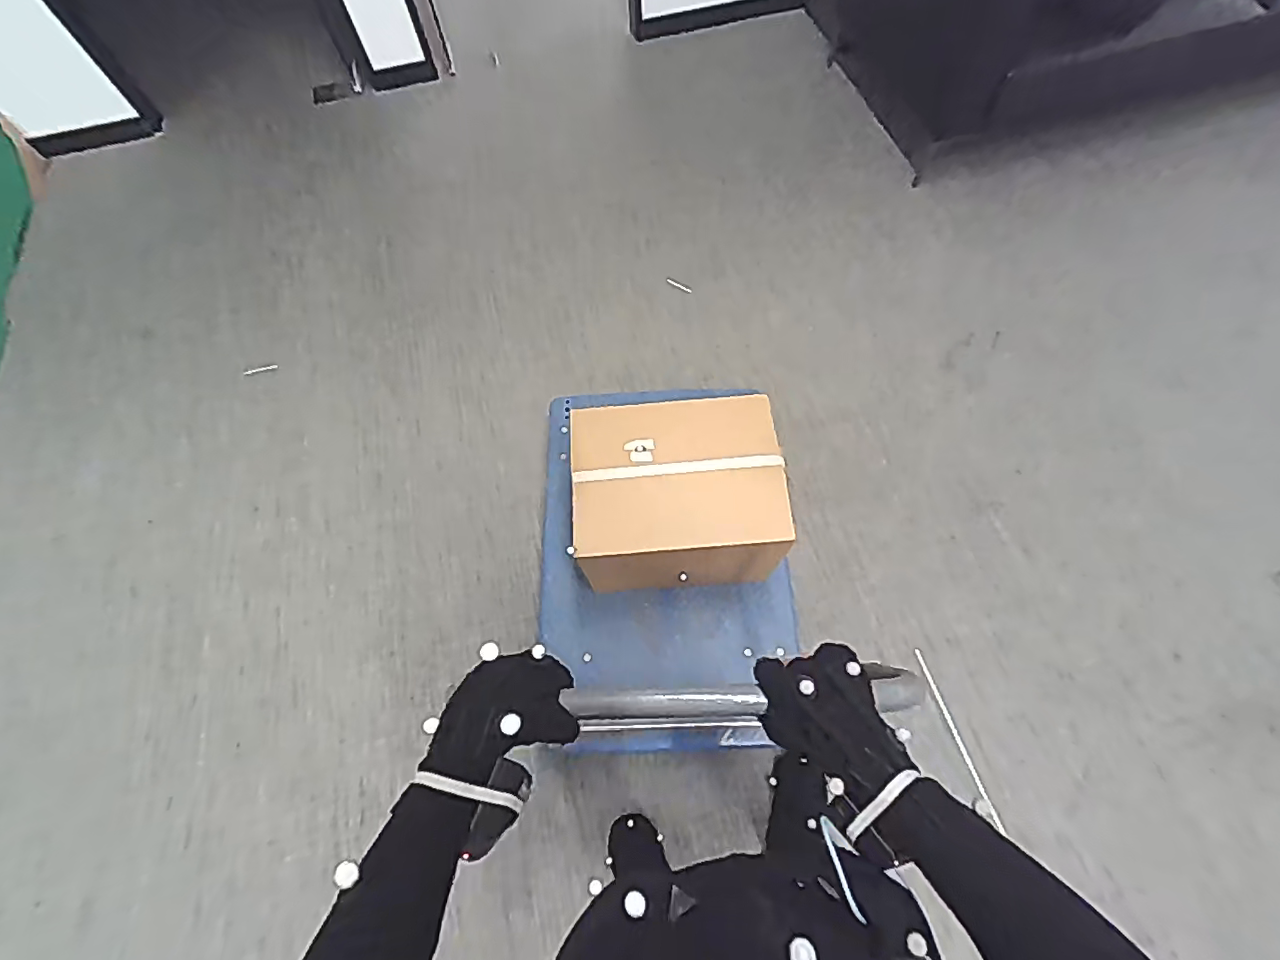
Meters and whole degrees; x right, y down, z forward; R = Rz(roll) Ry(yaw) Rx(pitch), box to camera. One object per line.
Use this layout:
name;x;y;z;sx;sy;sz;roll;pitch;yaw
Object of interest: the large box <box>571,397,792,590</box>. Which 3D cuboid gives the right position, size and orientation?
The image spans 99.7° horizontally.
large box;0.079;0.046;1.187;0.408;0.320;0.320;-6;66;1
